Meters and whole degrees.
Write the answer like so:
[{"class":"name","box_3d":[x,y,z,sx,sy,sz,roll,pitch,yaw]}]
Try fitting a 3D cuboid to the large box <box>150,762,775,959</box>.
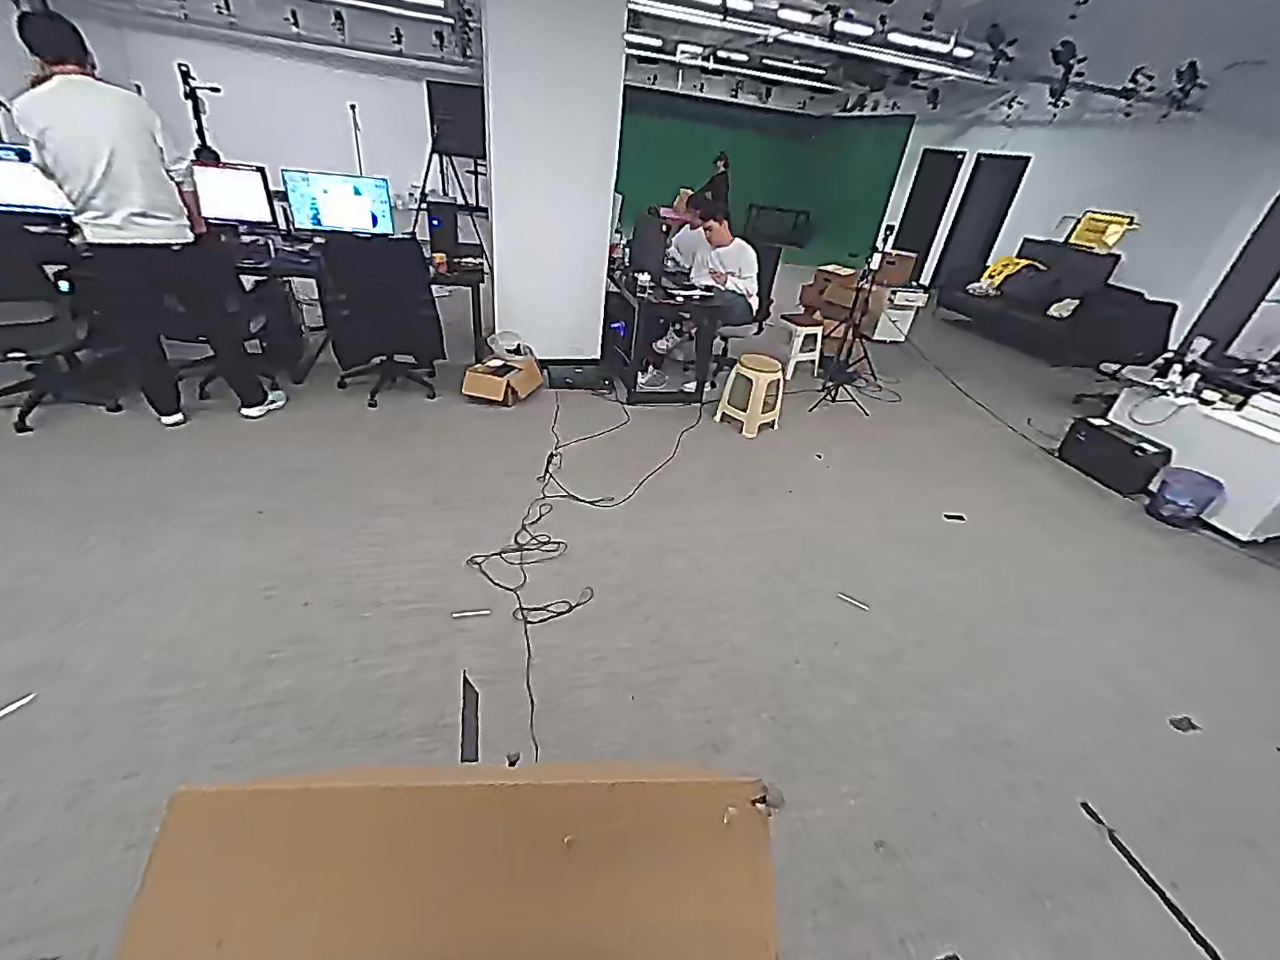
[{"class":"large box","box_3d":[-0.120,0.422,0.458,0.408,0.320,0.320,1,66,-5]}]
